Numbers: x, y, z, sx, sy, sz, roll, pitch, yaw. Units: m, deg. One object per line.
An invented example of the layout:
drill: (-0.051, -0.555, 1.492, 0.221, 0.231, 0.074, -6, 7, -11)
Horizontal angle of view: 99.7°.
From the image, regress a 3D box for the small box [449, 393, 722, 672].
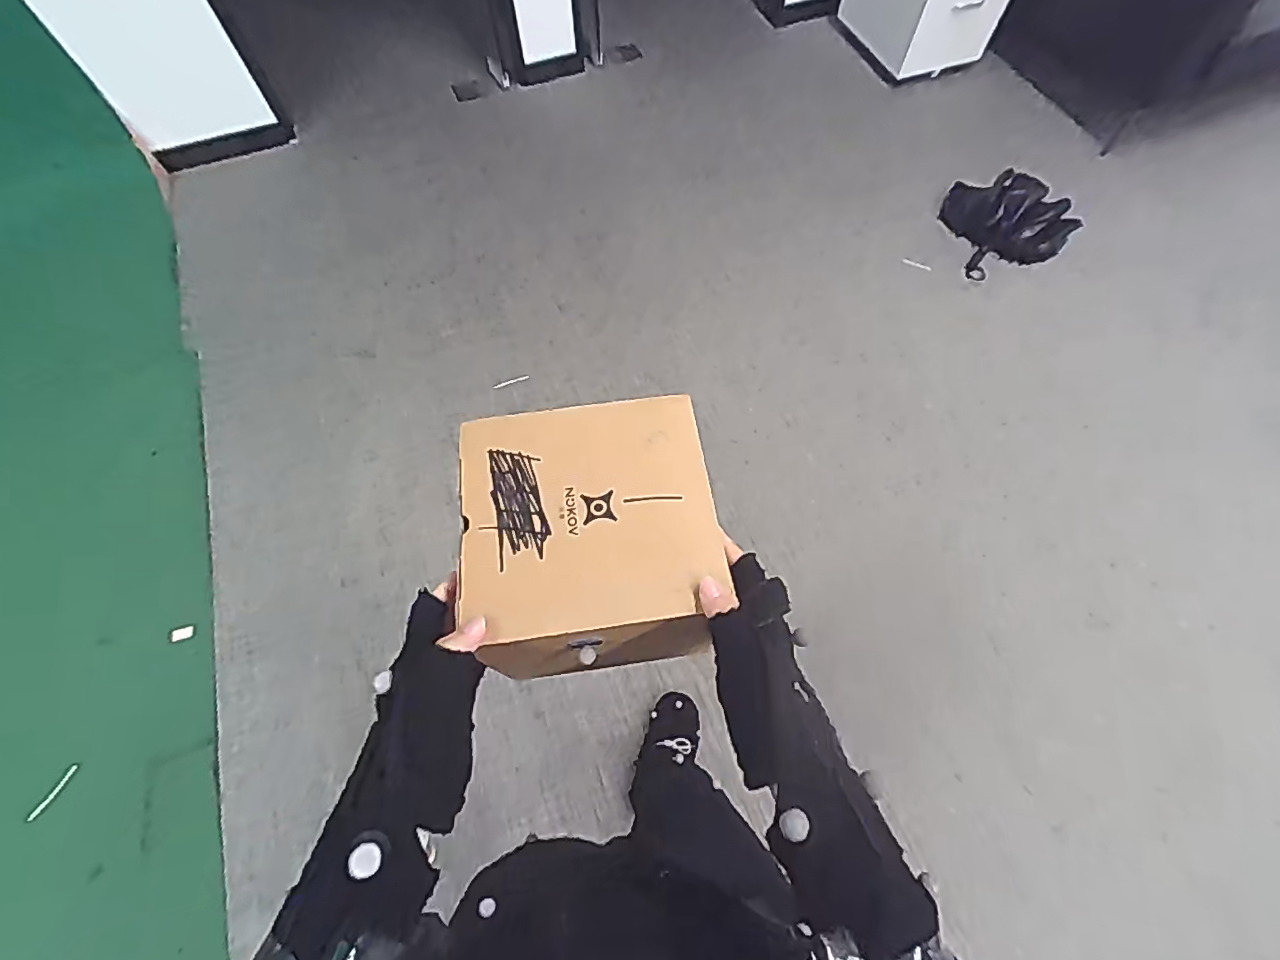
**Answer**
small box: (-0.039, 0.053, 0.442, 0.179, 0.176, 0.168, -8, 64, -2)
